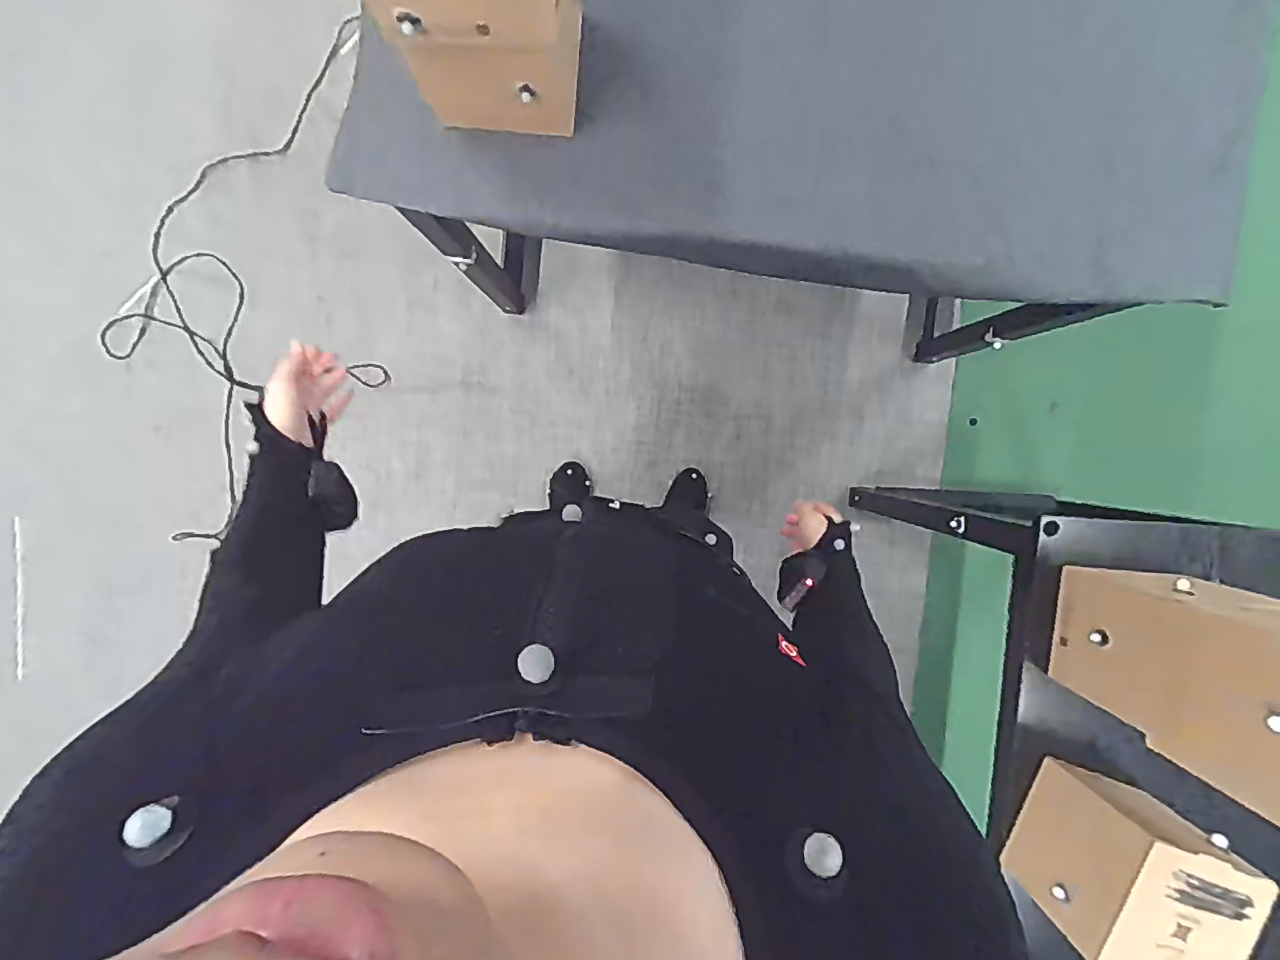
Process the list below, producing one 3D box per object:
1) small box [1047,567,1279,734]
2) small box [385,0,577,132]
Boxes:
[{"bbox_3d":[0.672,0.214,0.693,0.179,0.176,0.168,5,95,-1],"label":"small box"},{"bbox_3d":[-0.172,-0.544,0.637,0.179,0.176,0.168,5,92,0],"label":"small box"}]
